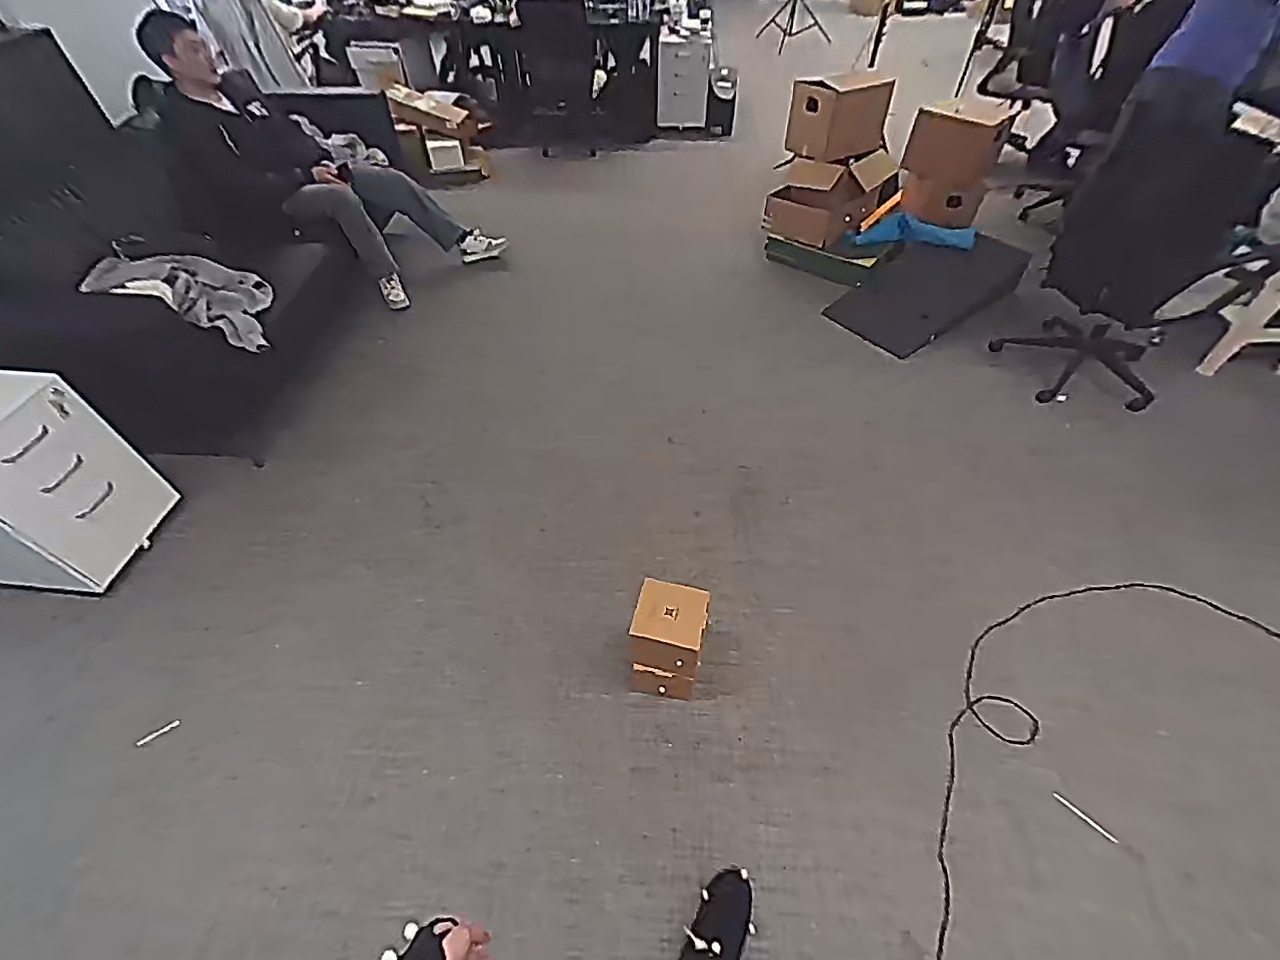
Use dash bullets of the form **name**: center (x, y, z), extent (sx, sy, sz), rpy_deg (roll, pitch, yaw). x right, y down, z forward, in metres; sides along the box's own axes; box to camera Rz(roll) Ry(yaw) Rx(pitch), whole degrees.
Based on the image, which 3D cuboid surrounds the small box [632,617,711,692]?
- **small box**: center (0.089, 0.473, 1.531), extent (0.179, 0.176, 0.168), rpy_deg (-17, 49, -10)

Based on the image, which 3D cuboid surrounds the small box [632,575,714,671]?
- **small box**: center (0.088, 0.376, 1.410), extent (0.179, 0.176, 0.168), rpy_deg (10, 49, 12)
